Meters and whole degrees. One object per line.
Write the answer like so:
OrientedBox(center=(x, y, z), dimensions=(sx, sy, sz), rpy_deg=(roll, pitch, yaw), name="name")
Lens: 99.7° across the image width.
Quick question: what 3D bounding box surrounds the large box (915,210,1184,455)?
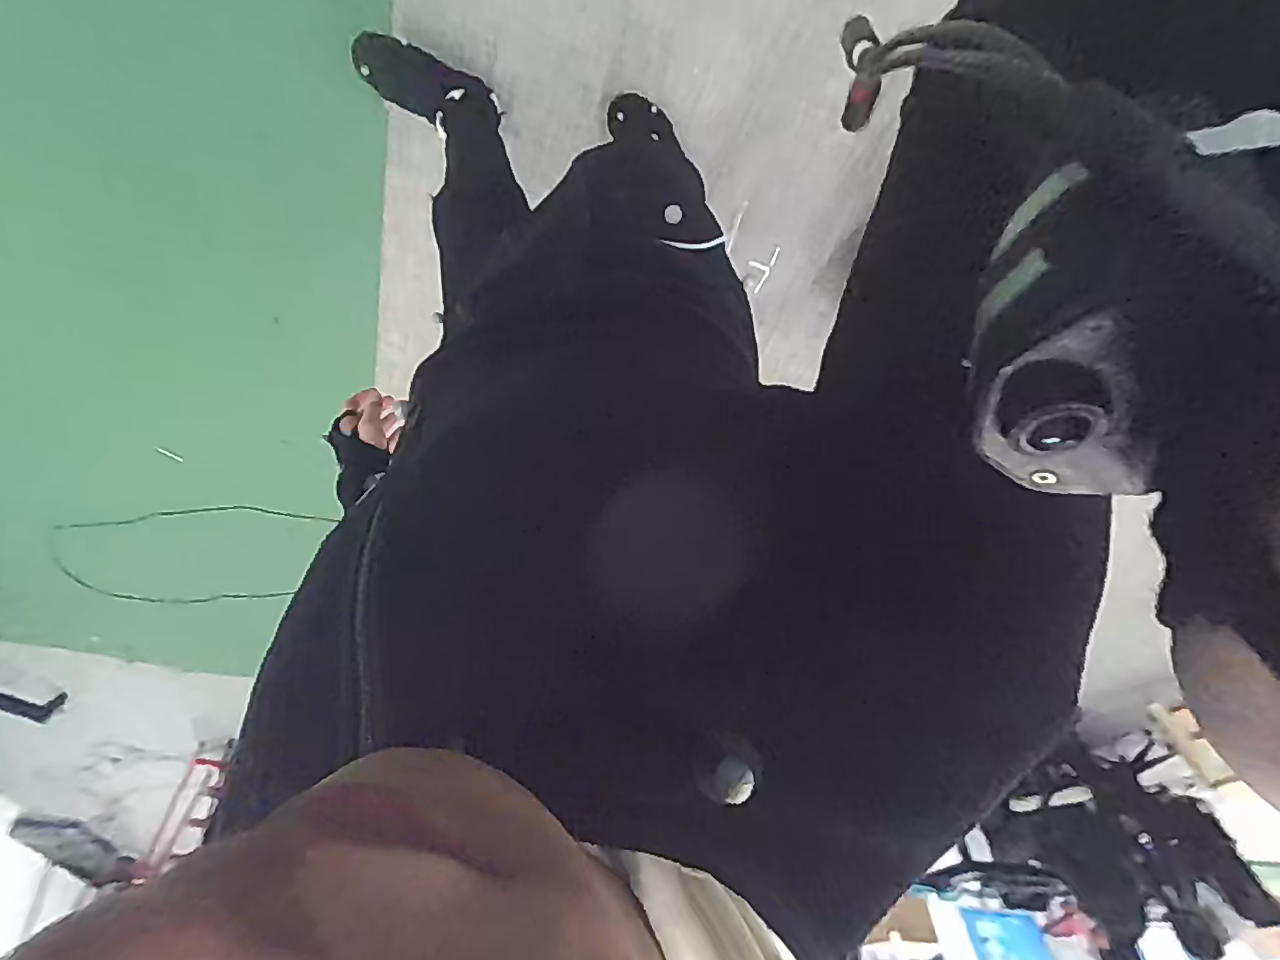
OrientedBox(center=(0.937, -0.338, 1.272), dimensions=(0.408, 0.320, 0.320), rpy_deg=(34, 124, -28), name="large box")
